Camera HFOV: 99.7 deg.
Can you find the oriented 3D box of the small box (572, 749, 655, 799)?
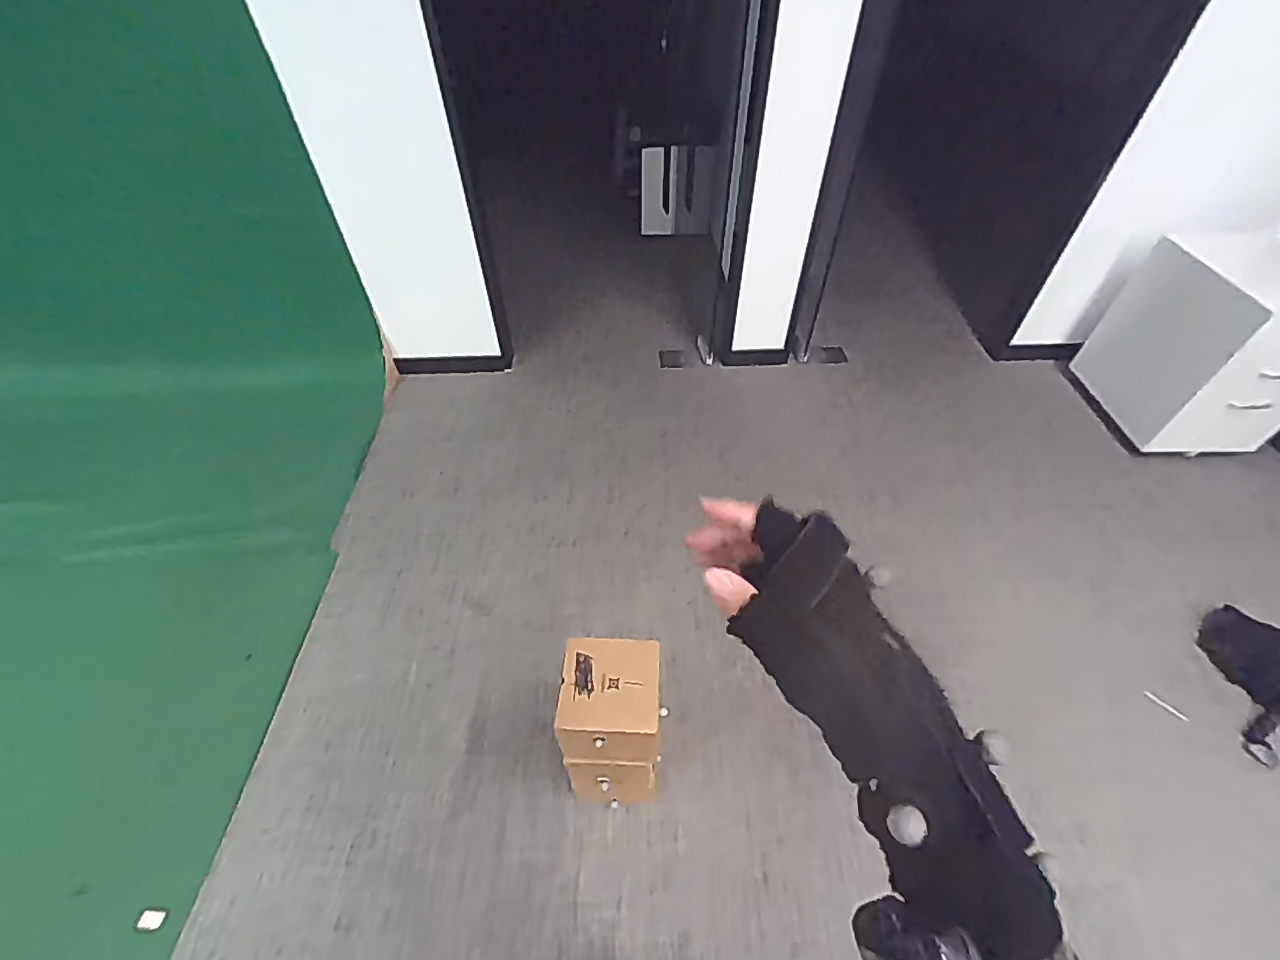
[{"bbox_3d":[-0.055,0.628,1.256,0.179,0.176,0.168,2,48,2],"label":"small box"}]

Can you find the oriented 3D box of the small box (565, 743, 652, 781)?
[{"bbox_3d":[-0.057,0.515,1.139,0.168,0.176,0.179,0,49,3],"label":"small box"}]

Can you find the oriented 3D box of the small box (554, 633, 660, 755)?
[{"bbox_3d":[-0.053,0.405,1.017,0.179,0.176,0.168,1,48,3],"label":"small box"}]
